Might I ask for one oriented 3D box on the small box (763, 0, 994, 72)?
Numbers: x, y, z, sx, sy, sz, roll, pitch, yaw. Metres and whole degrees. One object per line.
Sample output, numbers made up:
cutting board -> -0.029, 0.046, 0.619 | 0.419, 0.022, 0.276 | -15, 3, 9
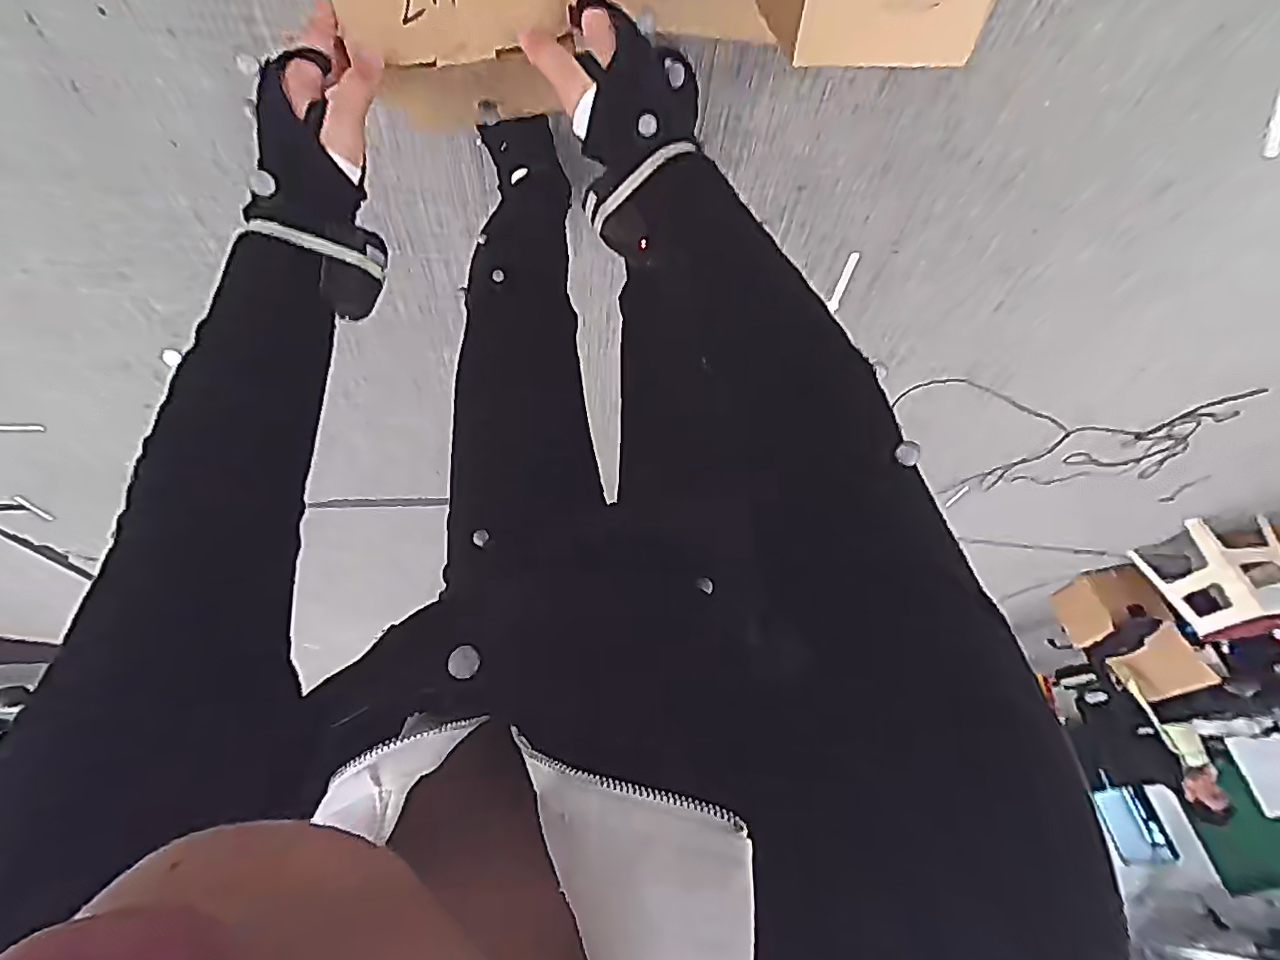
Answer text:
small box -> 0.213, -0.490, 0.469 | 0.168, 0.176, 0.179 | -3, 147, -4
